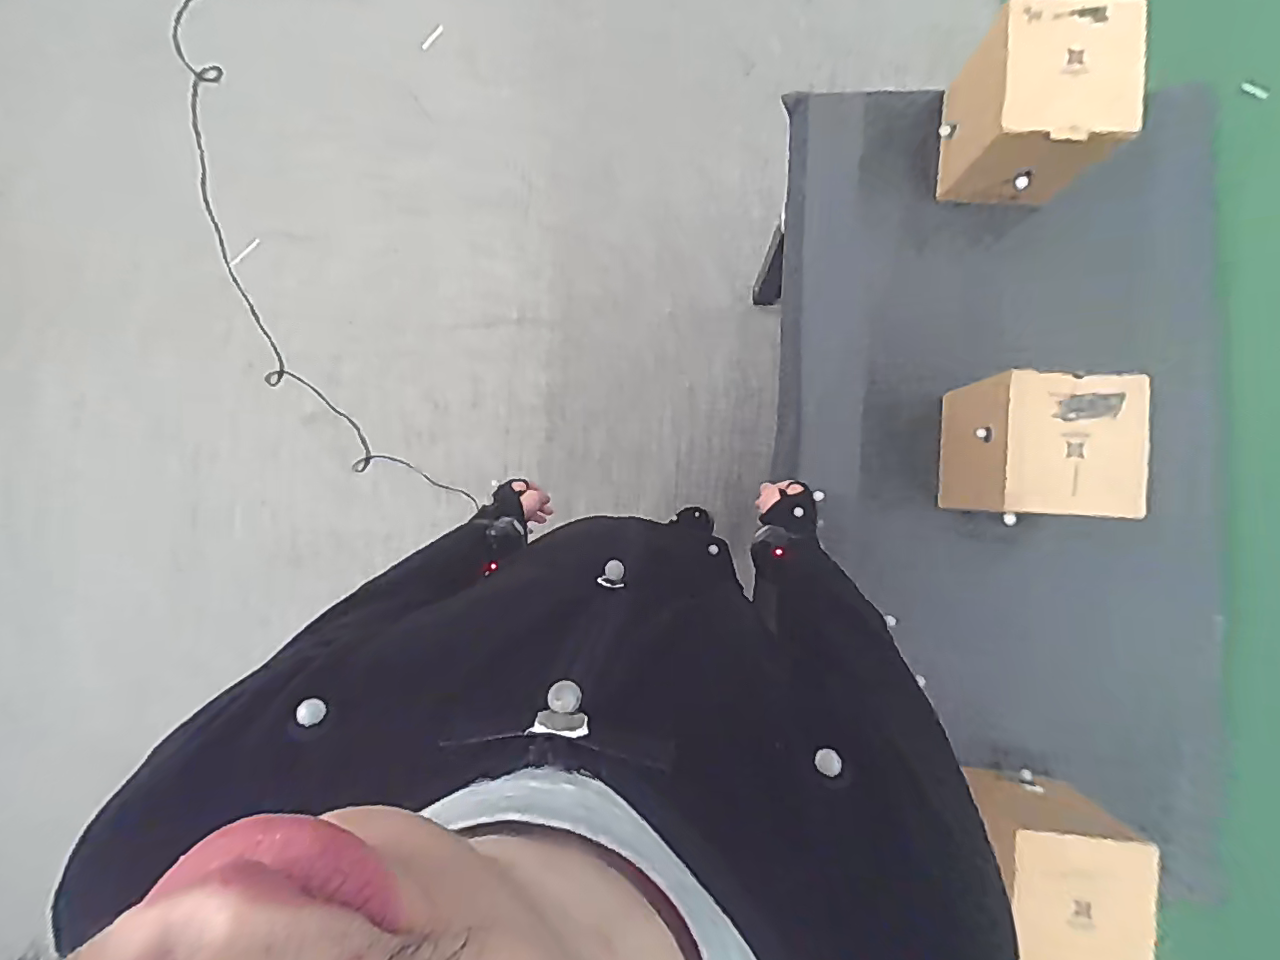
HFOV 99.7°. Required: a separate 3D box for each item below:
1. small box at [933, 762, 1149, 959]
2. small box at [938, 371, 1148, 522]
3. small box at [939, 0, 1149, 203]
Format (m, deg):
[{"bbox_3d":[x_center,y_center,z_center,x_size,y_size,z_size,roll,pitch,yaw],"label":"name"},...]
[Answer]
[{"bbox_3d":[0.513,0.511,0.718,0.168,0.176,0.179,5,87,3],"label":"small box"},{"bbox_3d":[0.528,-0.040,0.732,0.168,0.176,0.179,4,89,4],"label":"small box"},{"bbox_3d":[0.537,-0.508,0.744,0.168,0.176,0.179,5,90,3],"label":"small box"}]
